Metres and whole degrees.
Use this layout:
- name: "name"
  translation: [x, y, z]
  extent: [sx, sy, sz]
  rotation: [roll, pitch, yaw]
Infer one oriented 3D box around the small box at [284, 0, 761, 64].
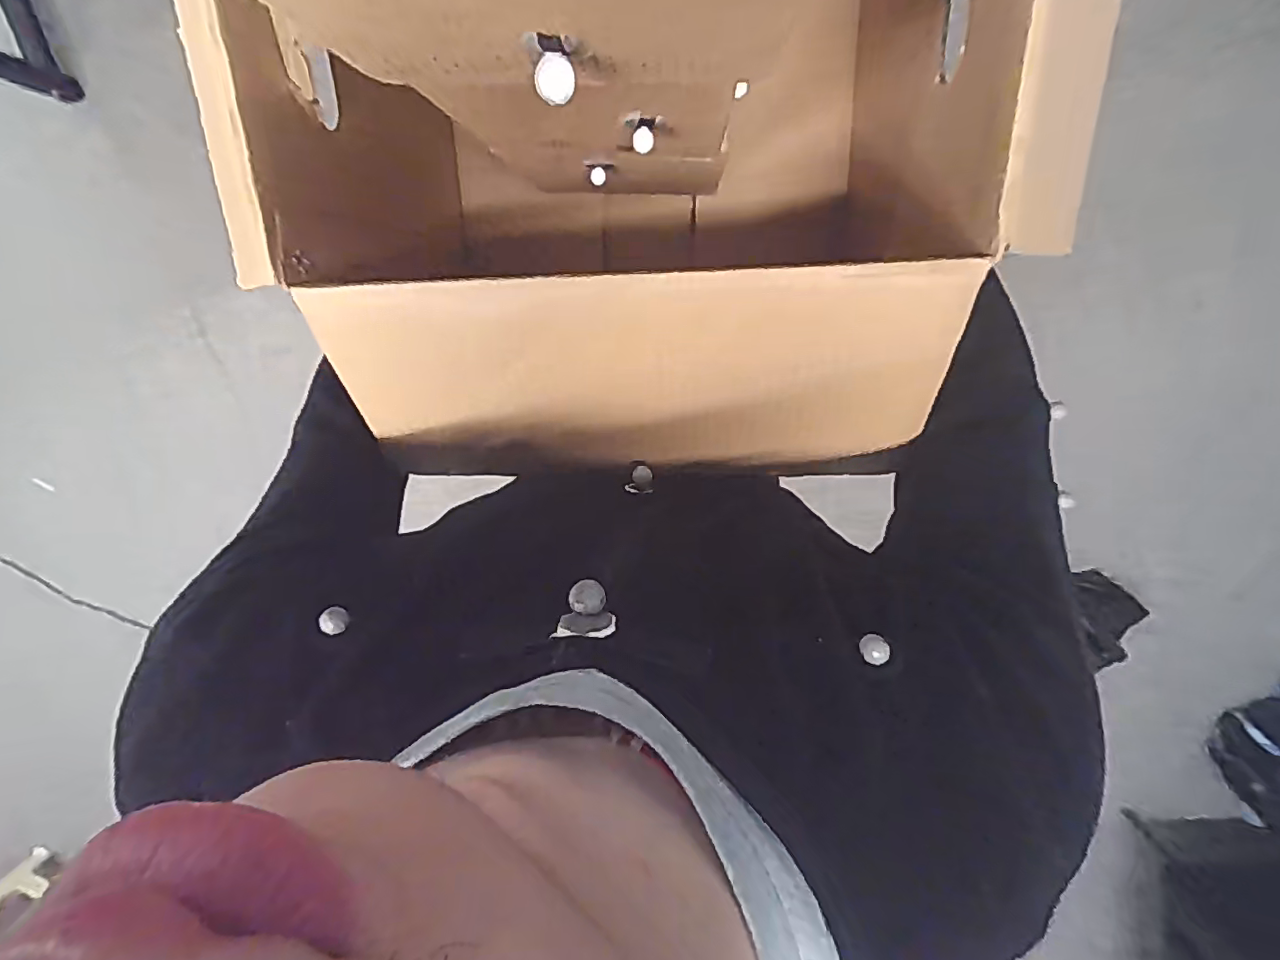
- name: "small box"
  translation: [-0.038, -0.224, 0.123]
  extent: [0.179, 0.176, 0.168]
  rotation: [1, 109, 2]
